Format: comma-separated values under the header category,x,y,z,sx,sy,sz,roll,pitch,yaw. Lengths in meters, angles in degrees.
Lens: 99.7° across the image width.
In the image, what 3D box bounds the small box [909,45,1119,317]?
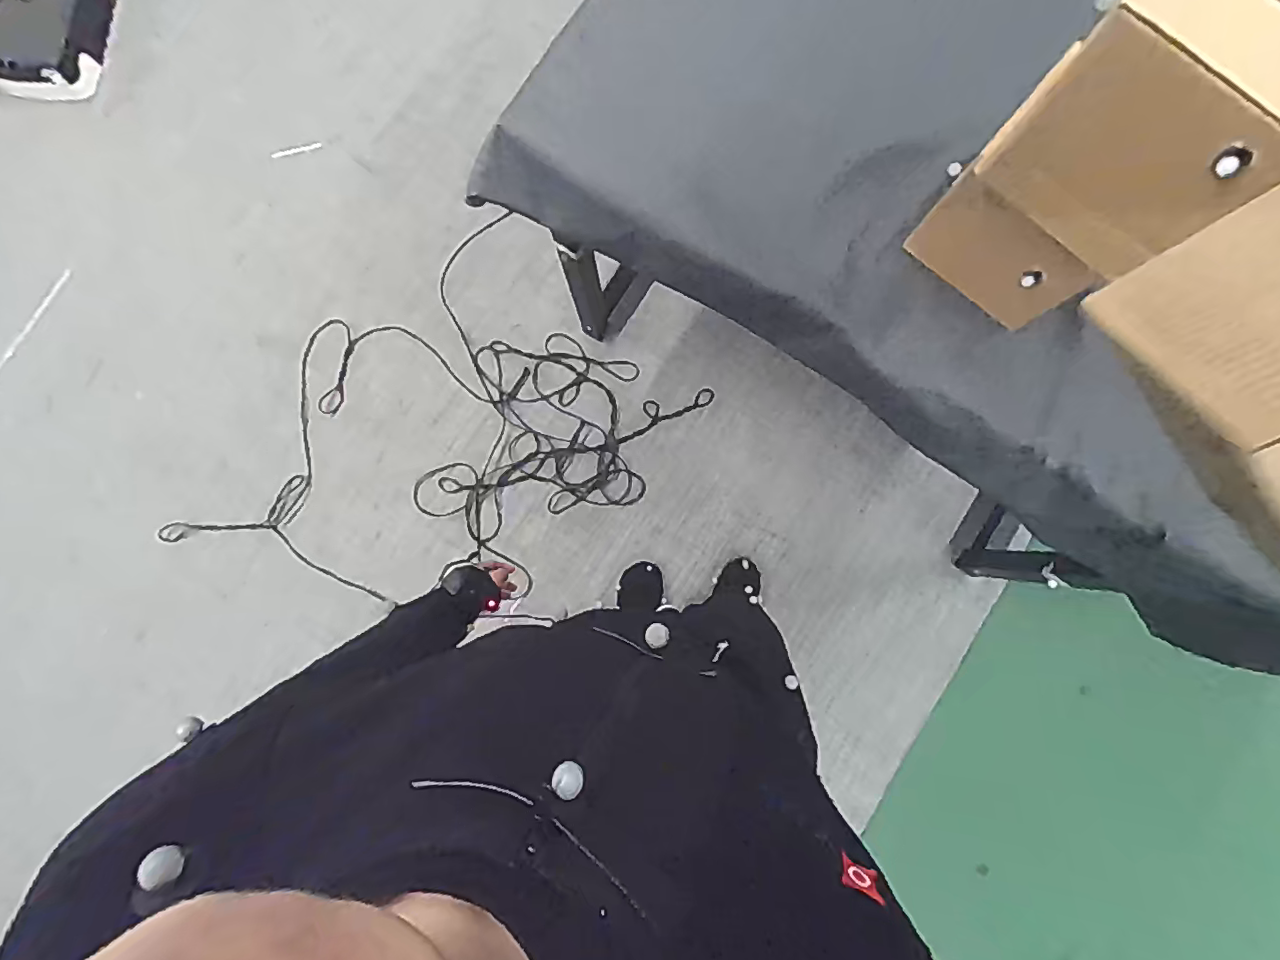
category,x,y,z,sx,sy,sz,roll,pitch,yaw
small box,0.451,-0.310,0.605,0.179,0.176,0.168,40,85,5

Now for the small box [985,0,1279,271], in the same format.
category,x,y,z,sx,sy,sz,roll,pitch,yaw
small box,0.439,-0.311,0.442,0.179,0.176,0.168,42,85,4
